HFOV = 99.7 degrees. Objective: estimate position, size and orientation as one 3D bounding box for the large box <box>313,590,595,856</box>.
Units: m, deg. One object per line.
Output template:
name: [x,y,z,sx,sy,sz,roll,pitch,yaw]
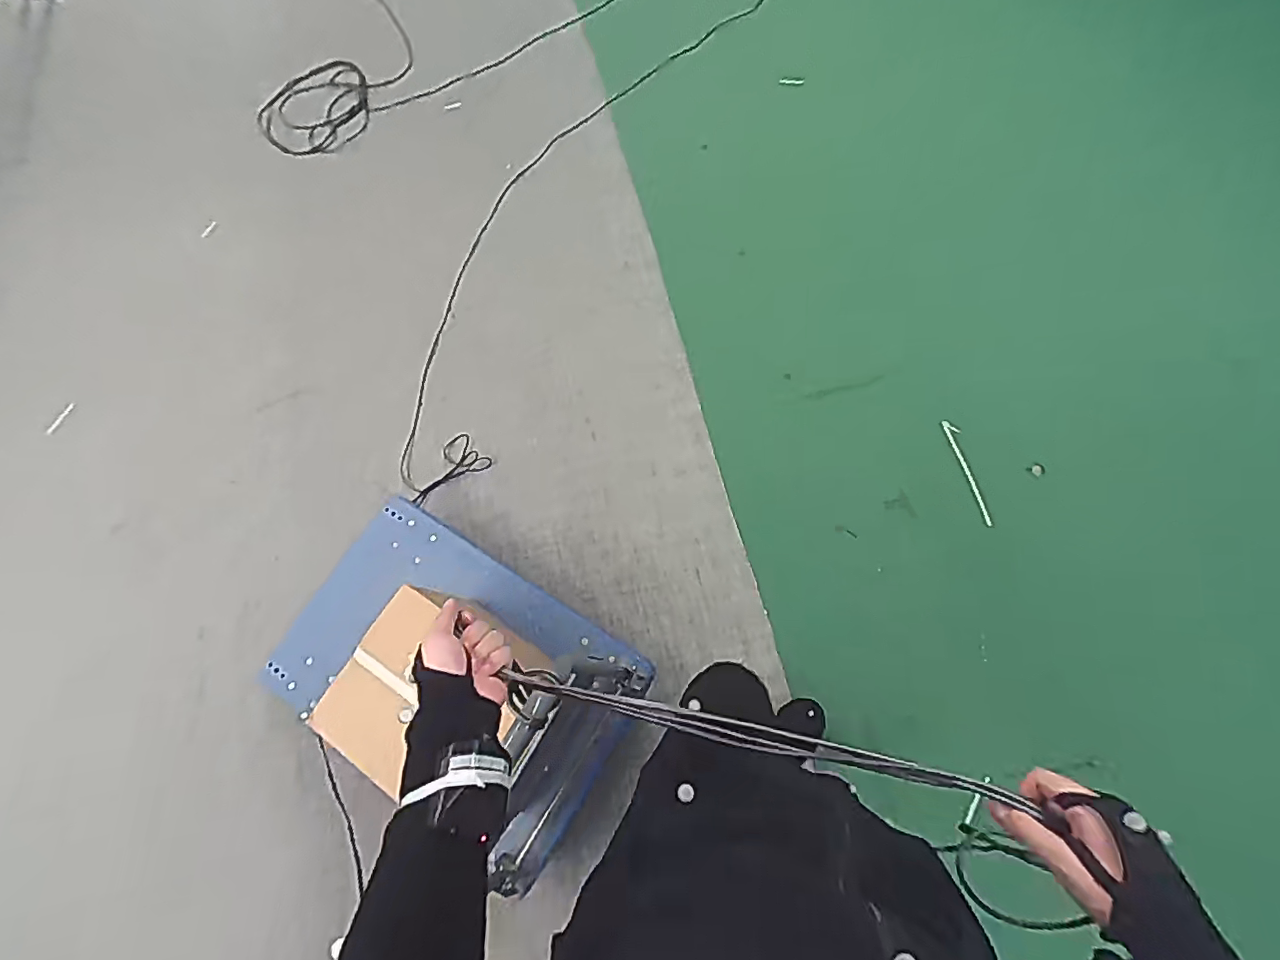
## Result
large box: [-0.364,0.483,1.152,0.408,0.320,0.320,29,77,17]
